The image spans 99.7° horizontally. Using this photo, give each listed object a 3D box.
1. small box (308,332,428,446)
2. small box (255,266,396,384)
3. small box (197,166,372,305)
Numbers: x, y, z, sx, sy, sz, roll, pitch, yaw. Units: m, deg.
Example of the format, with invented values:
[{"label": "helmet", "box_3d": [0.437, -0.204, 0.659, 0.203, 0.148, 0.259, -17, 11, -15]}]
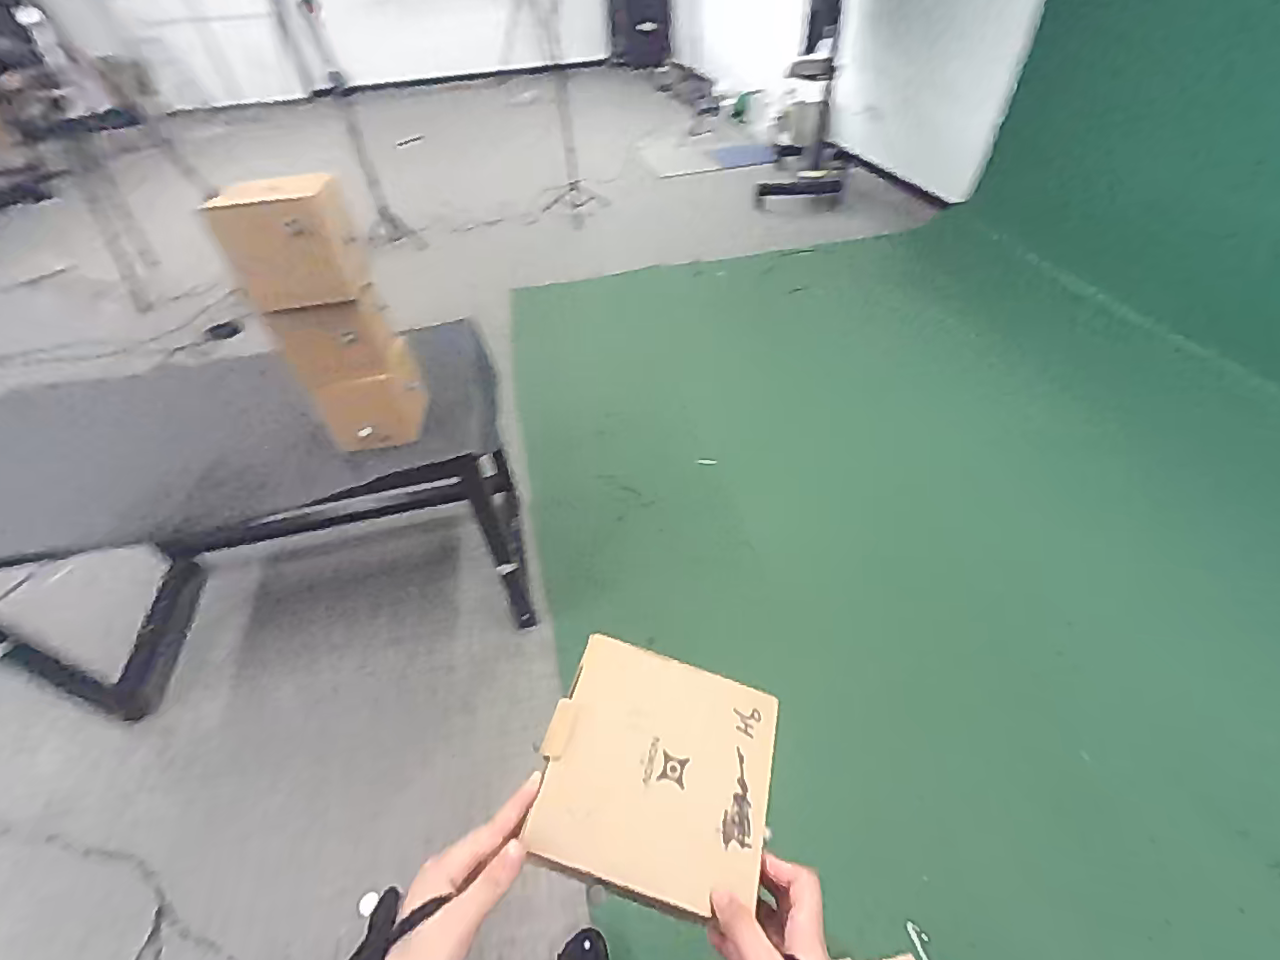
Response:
[{"label": "small box", "box_3d": [-0.576, -0.198, 1.172, 0.168, 0.176, 0.179, -8, 44, -2]}, {"label": "small box", "box_3d": [-0.598, -0.313, 1.059, 0.179, 0.176, 0.168, -14, 43, -7]}, {"label": "small box", "box_3d": [-0.591, -0.421, 0.932, 0.179, 0.176, 0.168, -10, 42, -5]}]
